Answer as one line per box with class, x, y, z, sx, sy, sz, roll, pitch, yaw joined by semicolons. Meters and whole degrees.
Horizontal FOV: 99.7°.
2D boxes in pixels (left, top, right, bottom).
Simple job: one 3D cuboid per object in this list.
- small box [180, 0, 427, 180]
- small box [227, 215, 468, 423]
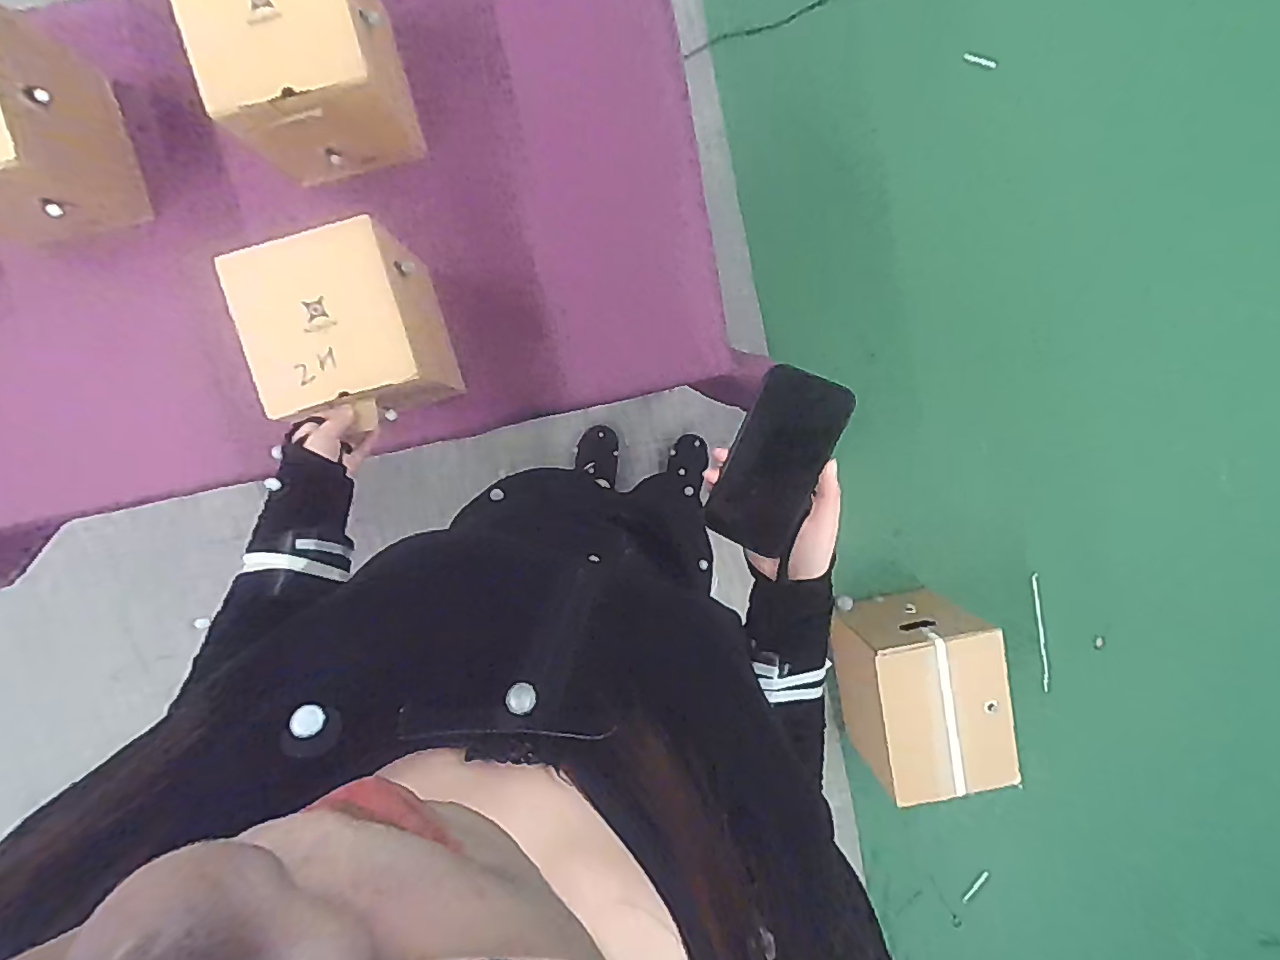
small box;-0.365;-0.475;0.606;0.168;0.176;0.179;-14;98;0
small box;-0.326;-0.174;0.639;0.168;0.176;0.179;-16;94;0
